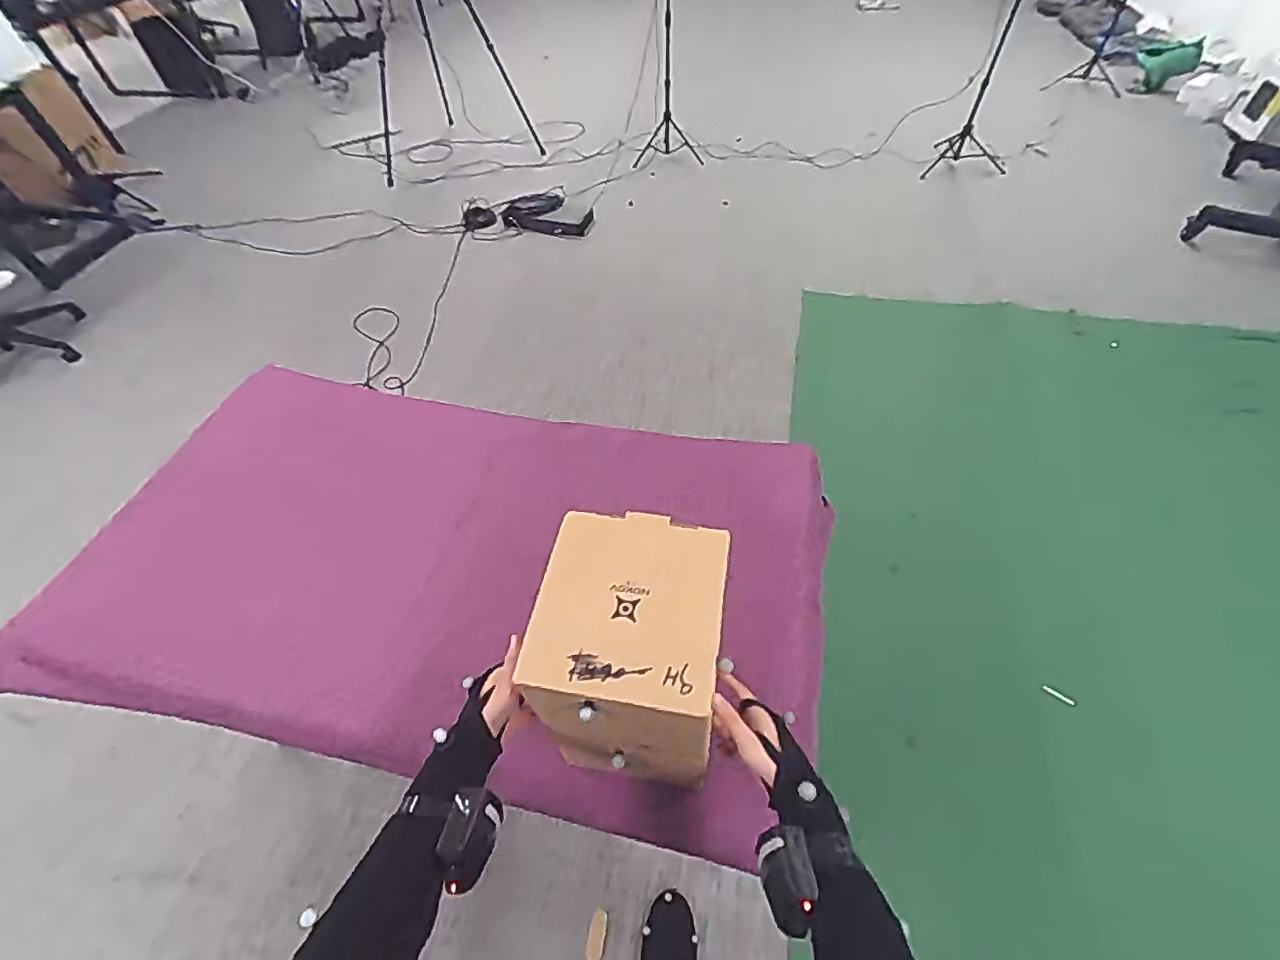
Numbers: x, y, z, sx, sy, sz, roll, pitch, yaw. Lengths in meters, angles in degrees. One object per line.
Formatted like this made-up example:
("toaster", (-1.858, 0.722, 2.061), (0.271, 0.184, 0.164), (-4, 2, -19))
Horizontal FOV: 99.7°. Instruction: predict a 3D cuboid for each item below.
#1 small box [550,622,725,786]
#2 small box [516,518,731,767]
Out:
("small box", (0.009, 0.267, 0.673), (0.179, 0.176, 0.168), (4, 52, 11))
("small box", (-0.003, 0.164, 0.546), (0.168, 0.176, 0.179), (5, 52, 11))
